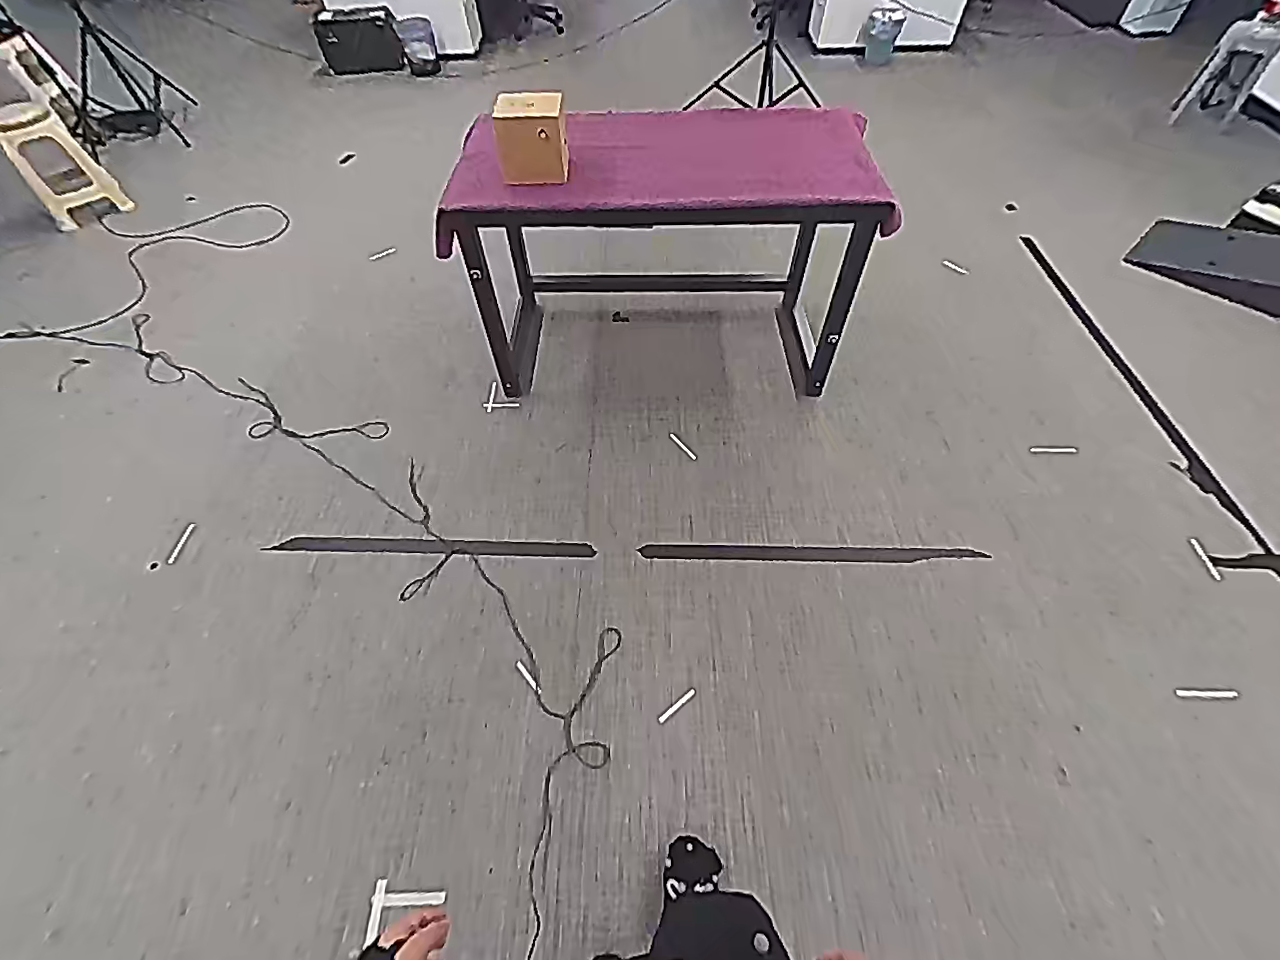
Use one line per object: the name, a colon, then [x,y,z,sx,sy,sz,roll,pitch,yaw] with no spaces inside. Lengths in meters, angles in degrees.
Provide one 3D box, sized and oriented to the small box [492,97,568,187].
small box: [-0.295,-0.930,1.492,0.179,0.176,0.168,-2,52,0]
